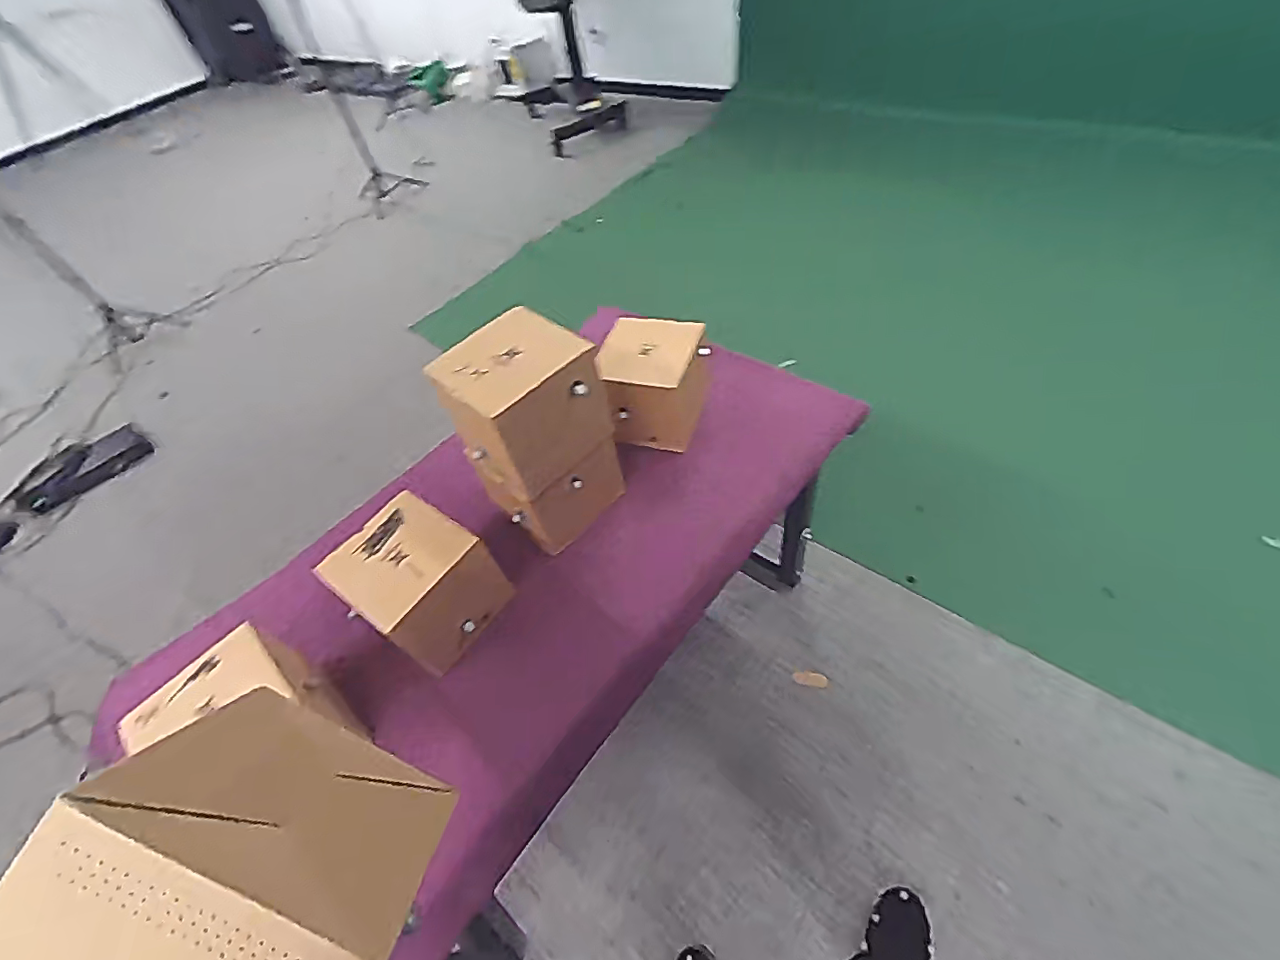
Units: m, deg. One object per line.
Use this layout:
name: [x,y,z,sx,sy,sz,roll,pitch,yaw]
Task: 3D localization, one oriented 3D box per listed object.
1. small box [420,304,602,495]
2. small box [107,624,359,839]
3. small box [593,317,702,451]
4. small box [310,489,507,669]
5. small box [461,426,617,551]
small box: [-0.171,-0.115,0.778,0.168,0.176,0.179,34,64,31]
small box: [-0.504,0.324,0.693,0.179,0.176,0.168,32,63,29]
small box: [0.015,-0.177,1.008,0.168,0.176,0.179,11,54,18]
small box: [-0.332,0.150,0.803,0.179,0.176,0.168,26,60,27]
small box: [-0.159,-0.013,0.907,0.168,0.176,0.179,34,64,30]
